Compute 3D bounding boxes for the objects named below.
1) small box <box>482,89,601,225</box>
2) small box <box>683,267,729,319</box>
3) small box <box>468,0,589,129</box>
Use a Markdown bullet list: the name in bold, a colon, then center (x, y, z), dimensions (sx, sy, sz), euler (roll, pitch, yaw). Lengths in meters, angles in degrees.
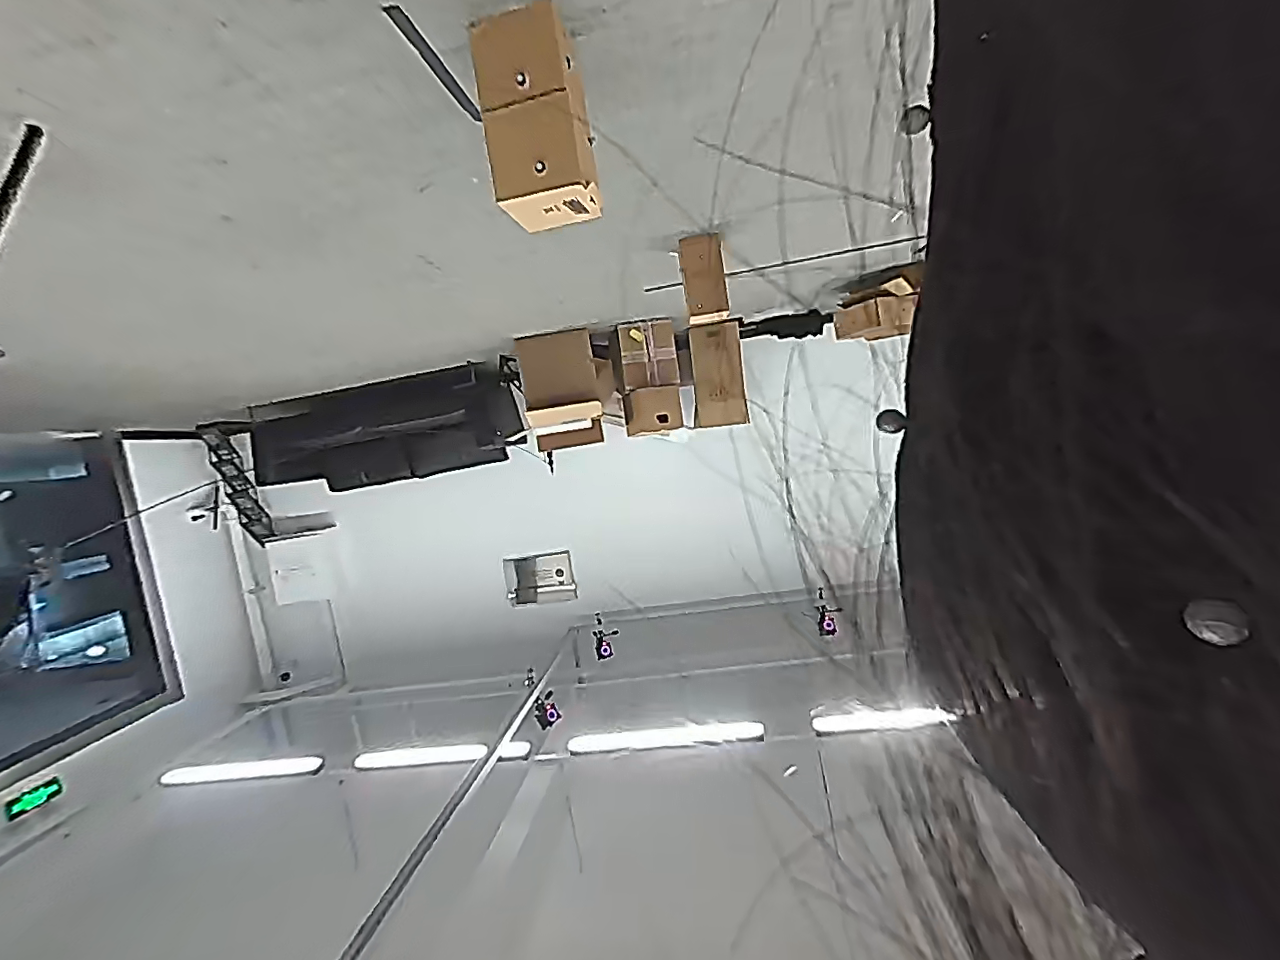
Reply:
- **small box**: center (-0.193, -0.641, 1.084), dimensions (0.179, 0.176, 0.168), euler (-8, -175, 11)
- **small box**: center (0.289, -0.833, 2.407), dimensions (0.179, 0.176, 0.168), euler (-10, -174, 4)
- **small box**: center (-0.218, -0.804, 1.076), dimensions (0.179, 0.176, 0.168), euler (-7, -176, 12)
